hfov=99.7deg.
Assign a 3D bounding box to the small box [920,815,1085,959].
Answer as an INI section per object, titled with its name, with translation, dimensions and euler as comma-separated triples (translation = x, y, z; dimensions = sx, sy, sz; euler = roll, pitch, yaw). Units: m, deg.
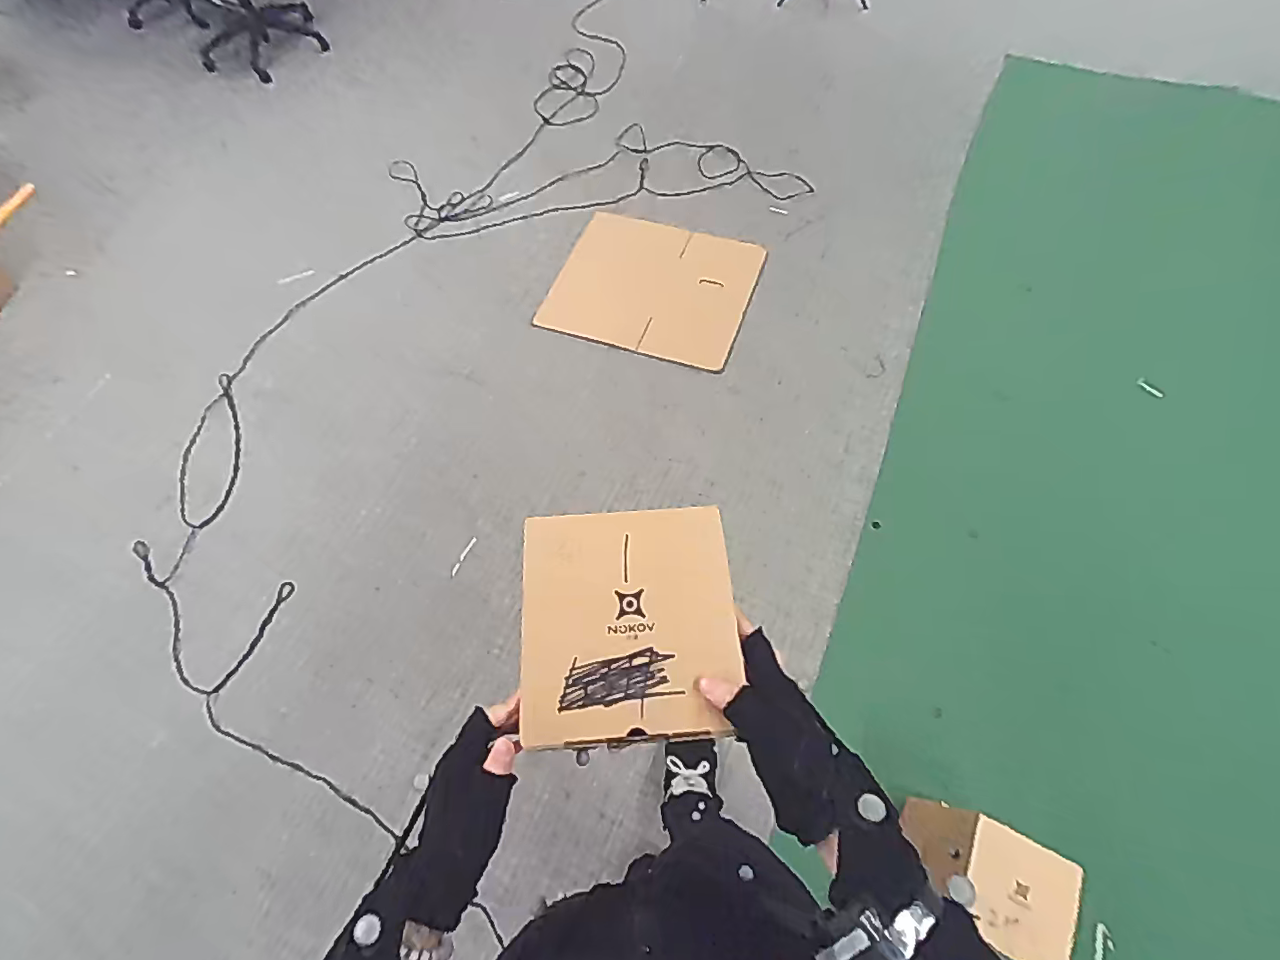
[small box]
translation = 0.614, 0.712, 0.934
dimensions = 0.168, 0.176, 0.179
euler = 25, 67, 15
